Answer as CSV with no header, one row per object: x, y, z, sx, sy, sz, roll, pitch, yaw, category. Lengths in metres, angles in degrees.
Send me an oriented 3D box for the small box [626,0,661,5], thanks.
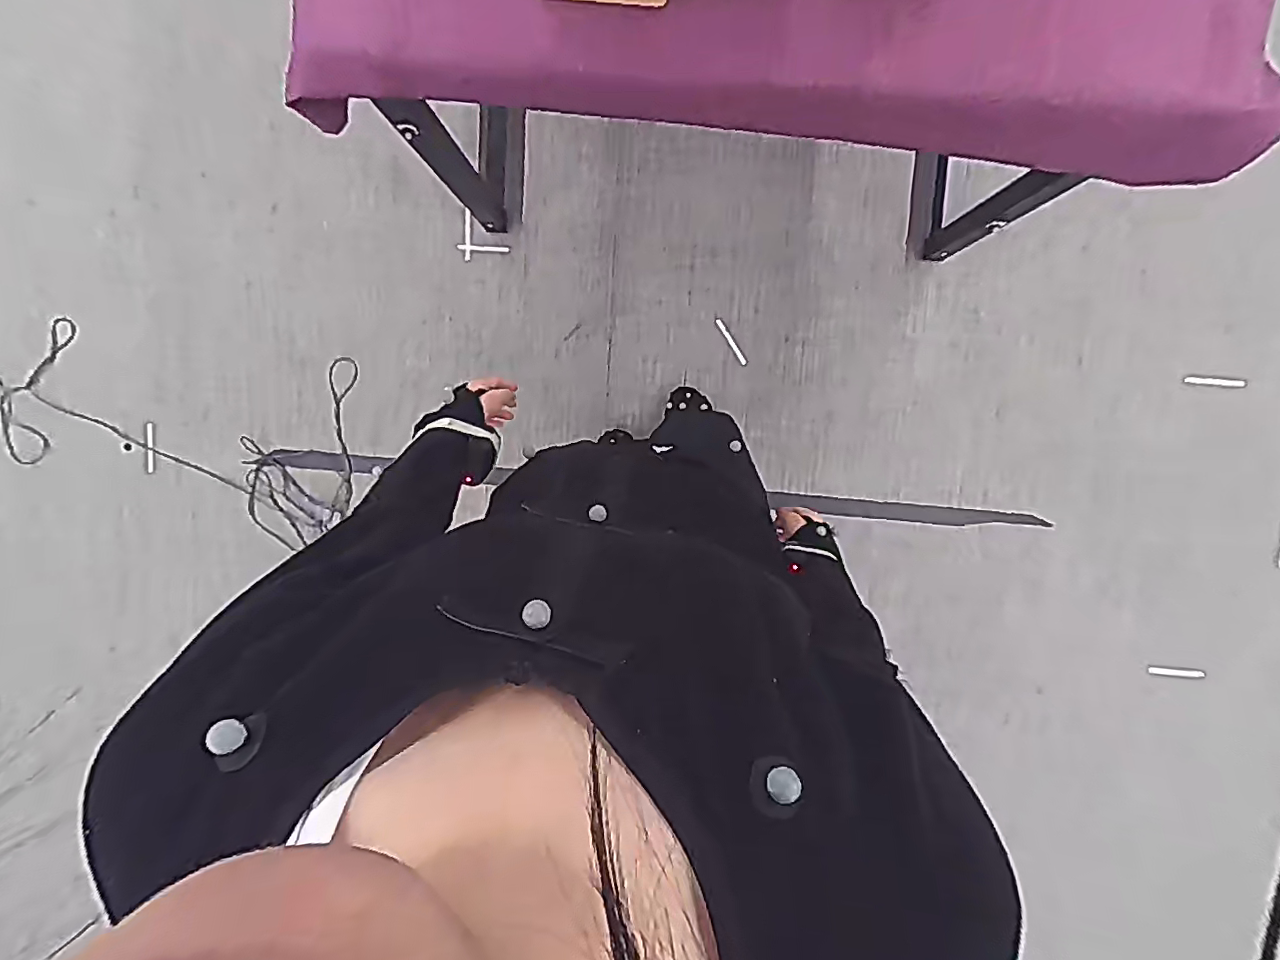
-0.041,-0.676,0.592,0.168,0.176,0.179,5,95,0,small box
